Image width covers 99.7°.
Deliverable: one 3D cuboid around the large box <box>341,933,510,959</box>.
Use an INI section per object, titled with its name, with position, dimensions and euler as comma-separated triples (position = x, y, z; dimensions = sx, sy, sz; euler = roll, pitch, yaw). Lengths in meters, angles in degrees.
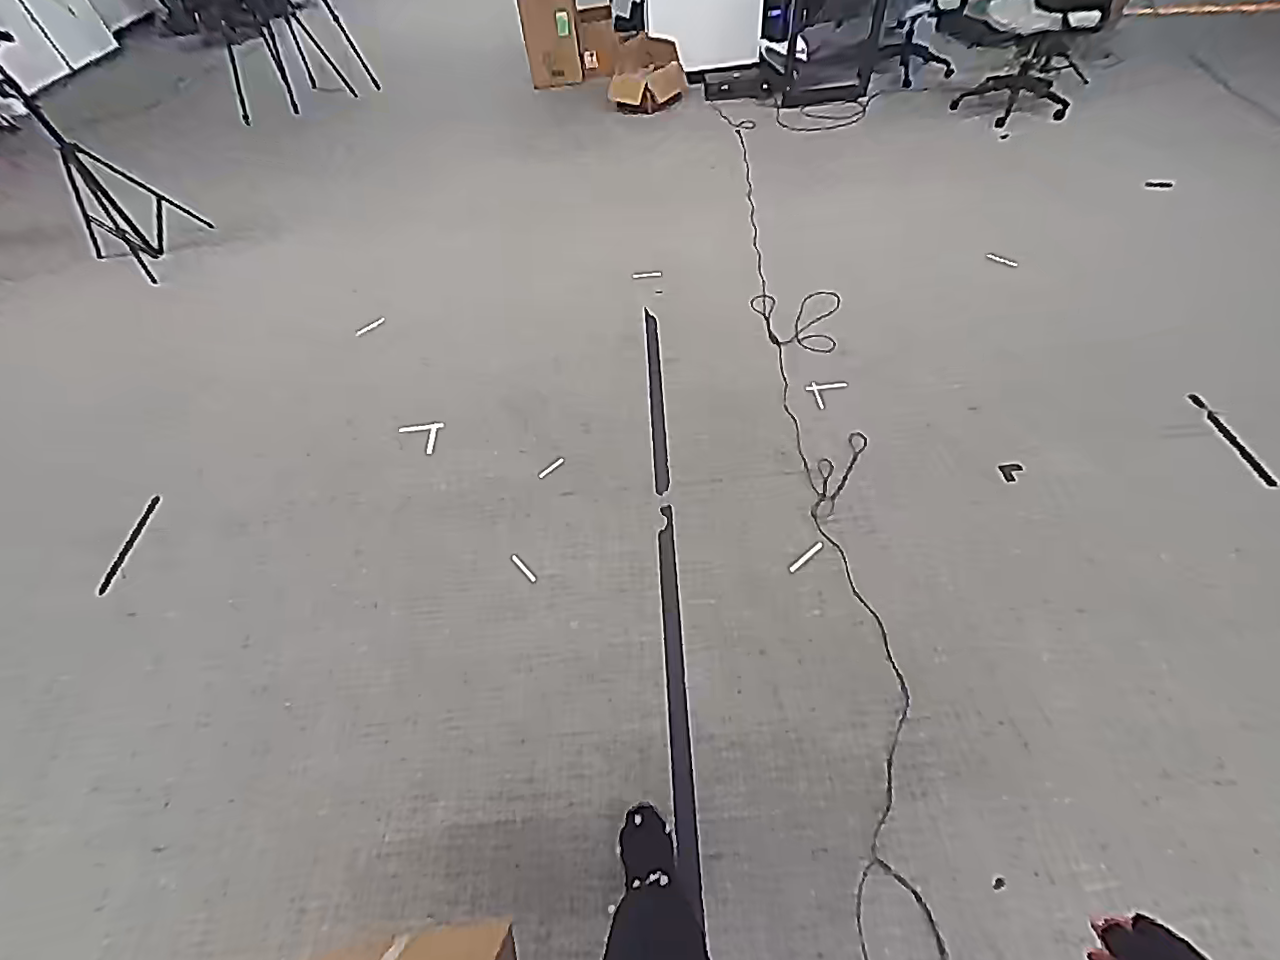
[large box]
position = -0.323, 0.813, 0.584
dimensions = 0.320, 0.408, 0.320
euler = -13, 81, 2
